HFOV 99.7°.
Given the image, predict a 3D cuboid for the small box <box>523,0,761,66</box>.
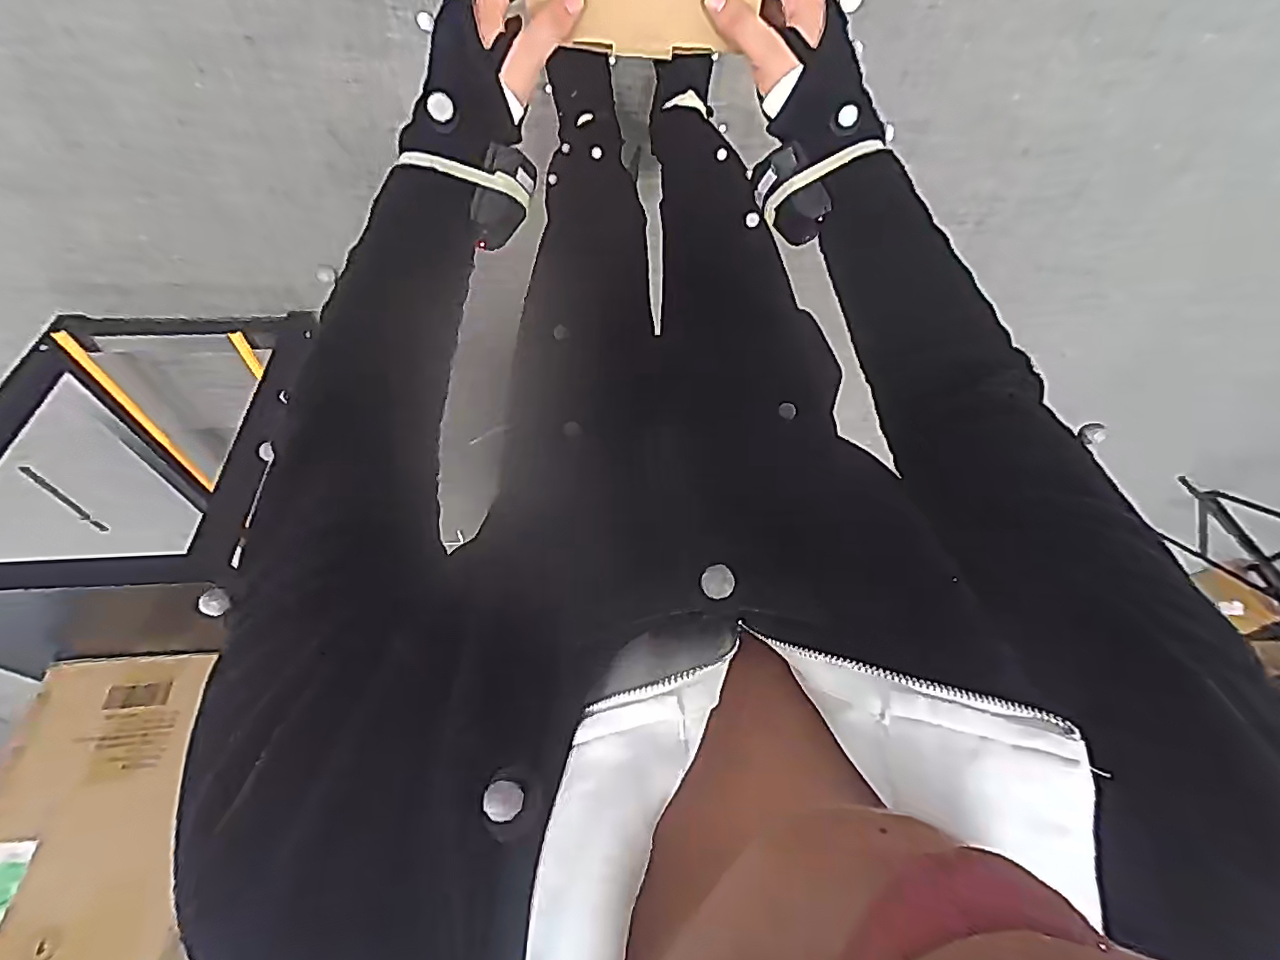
[{"bbox_3d":[0.000,-0.423,0.372,0.168,0.176,0.179,-3,144,-7],"label":"small box"}]
